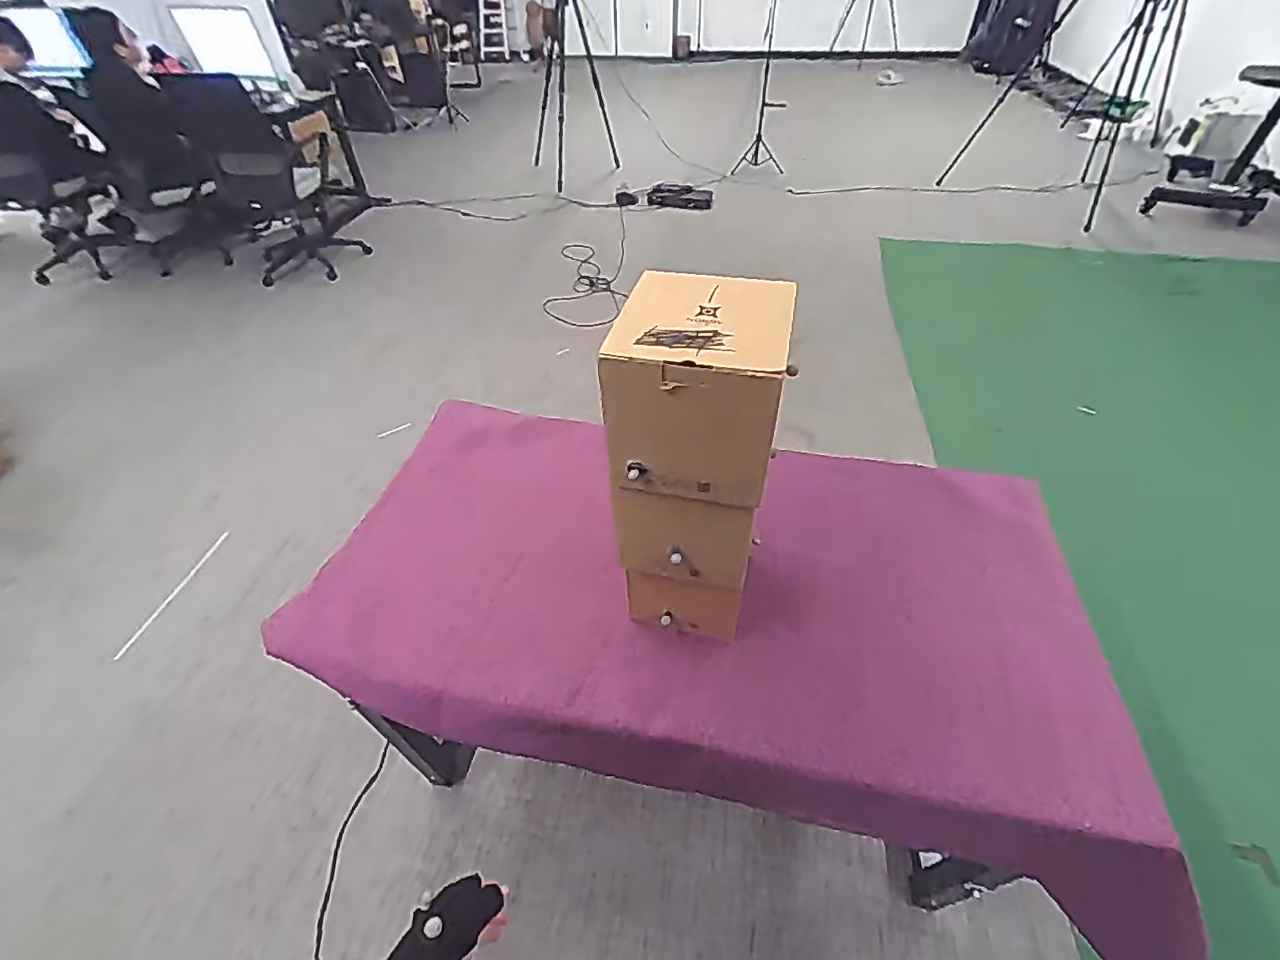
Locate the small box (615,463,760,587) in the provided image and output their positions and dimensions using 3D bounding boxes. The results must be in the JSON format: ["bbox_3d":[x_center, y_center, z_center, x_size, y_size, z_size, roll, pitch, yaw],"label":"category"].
[{"bbox_3d":[0.073,0.010,0.706,0.168,0.176,0.179,9,46,12],"label":"small box"}]

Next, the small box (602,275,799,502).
[{"bbox_3d":[0.069,-0.099,0.583,0.168,0.176,0.179,10,45,12],"label":"small box"}]

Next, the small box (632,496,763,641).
[{"bbox_3d":[0.085,0.116,0.831,0.168,0.176,0.179,10,47,13],"label":"small box"}]
